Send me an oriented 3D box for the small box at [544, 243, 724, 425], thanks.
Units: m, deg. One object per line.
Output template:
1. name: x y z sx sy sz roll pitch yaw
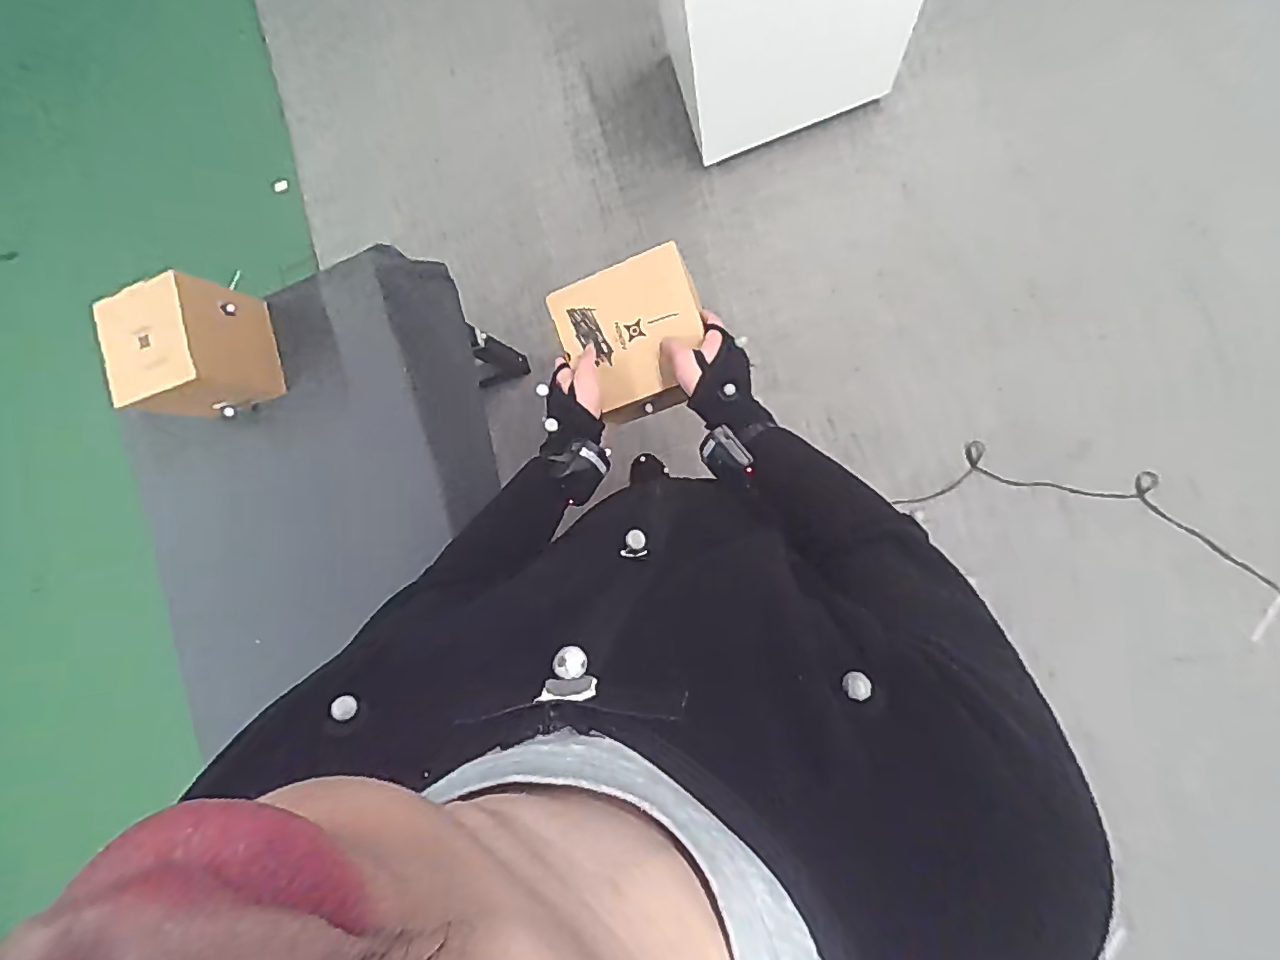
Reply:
1. small box: 0.002 -0.178 0.727 0.179 0.176 0.168 -19 88 14

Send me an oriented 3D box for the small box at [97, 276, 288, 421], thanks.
1. small box: -0.741 -0.209 0.910 0.168 0.176 0.179 -16 88 12
